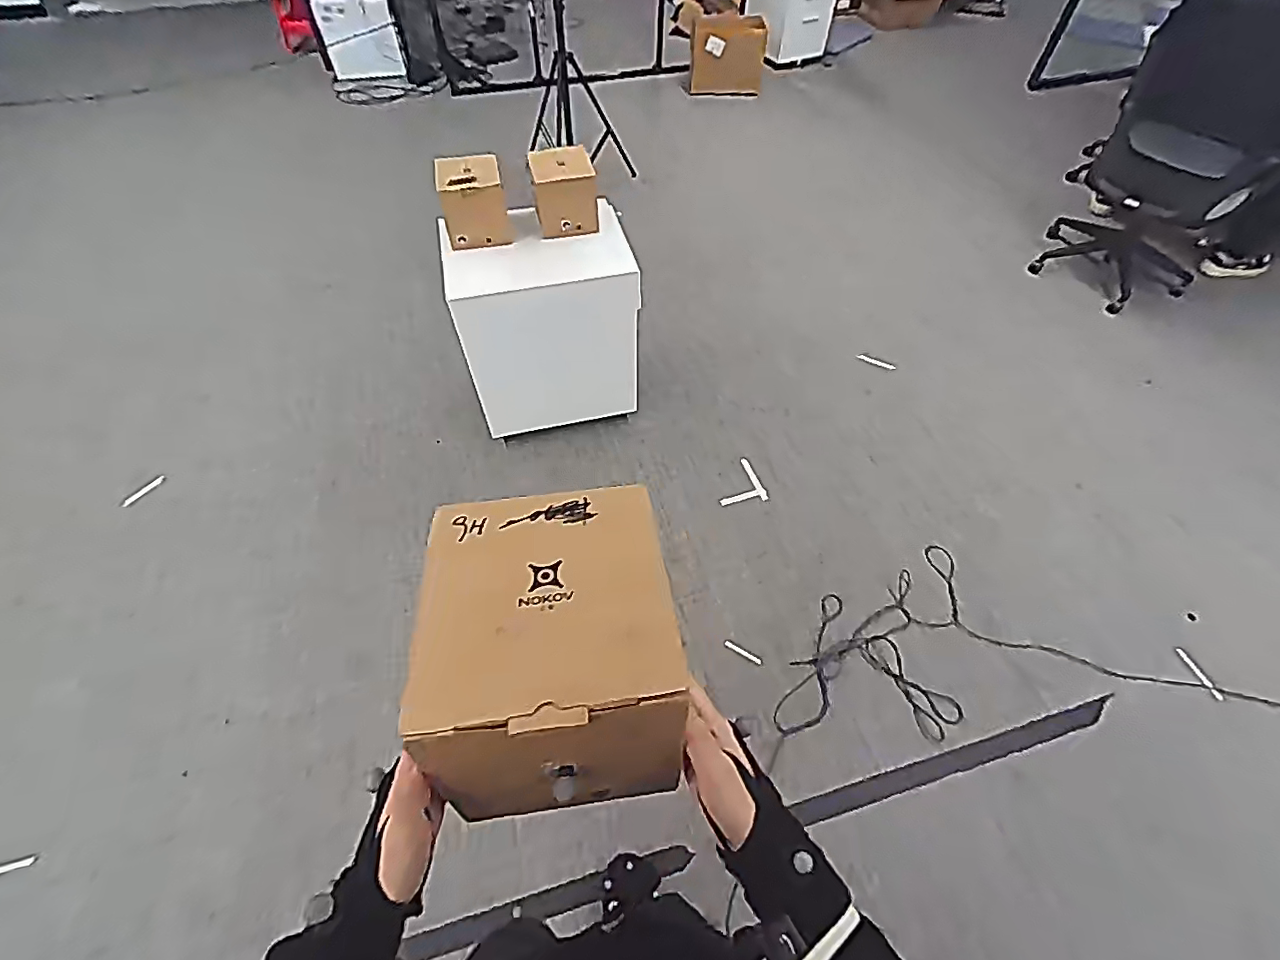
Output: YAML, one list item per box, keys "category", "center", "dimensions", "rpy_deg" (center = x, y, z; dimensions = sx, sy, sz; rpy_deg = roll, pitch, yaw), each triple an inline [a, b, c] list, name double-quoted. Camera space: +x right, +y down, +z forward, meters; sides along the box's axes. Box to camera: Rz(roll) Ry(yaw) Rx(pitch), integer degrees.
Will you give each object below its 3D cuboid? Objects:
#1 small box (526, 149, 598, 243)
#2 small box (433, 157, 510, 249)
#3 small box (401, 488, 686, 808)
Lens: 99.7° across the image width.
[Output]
- category: "small box"
  center: [-0.220, -0.804, 1.532]
  dimensions: [0.168, 0.176, 0.179]
  rpy_deg: [-13, 58, -8]
- category: "small box"
  center: [-0.462, -0.757, 1.493]
  dimensions: [0.168, 0.176, 0.179]
  rpy_deg: [-10, 56, -9]
- category: "small box"
  center: [-0.062, 0.132, 0.417]
  dimensions: [0.168, 0.176, 0.179]
  rpy_deg: [-6, 45, -6]
